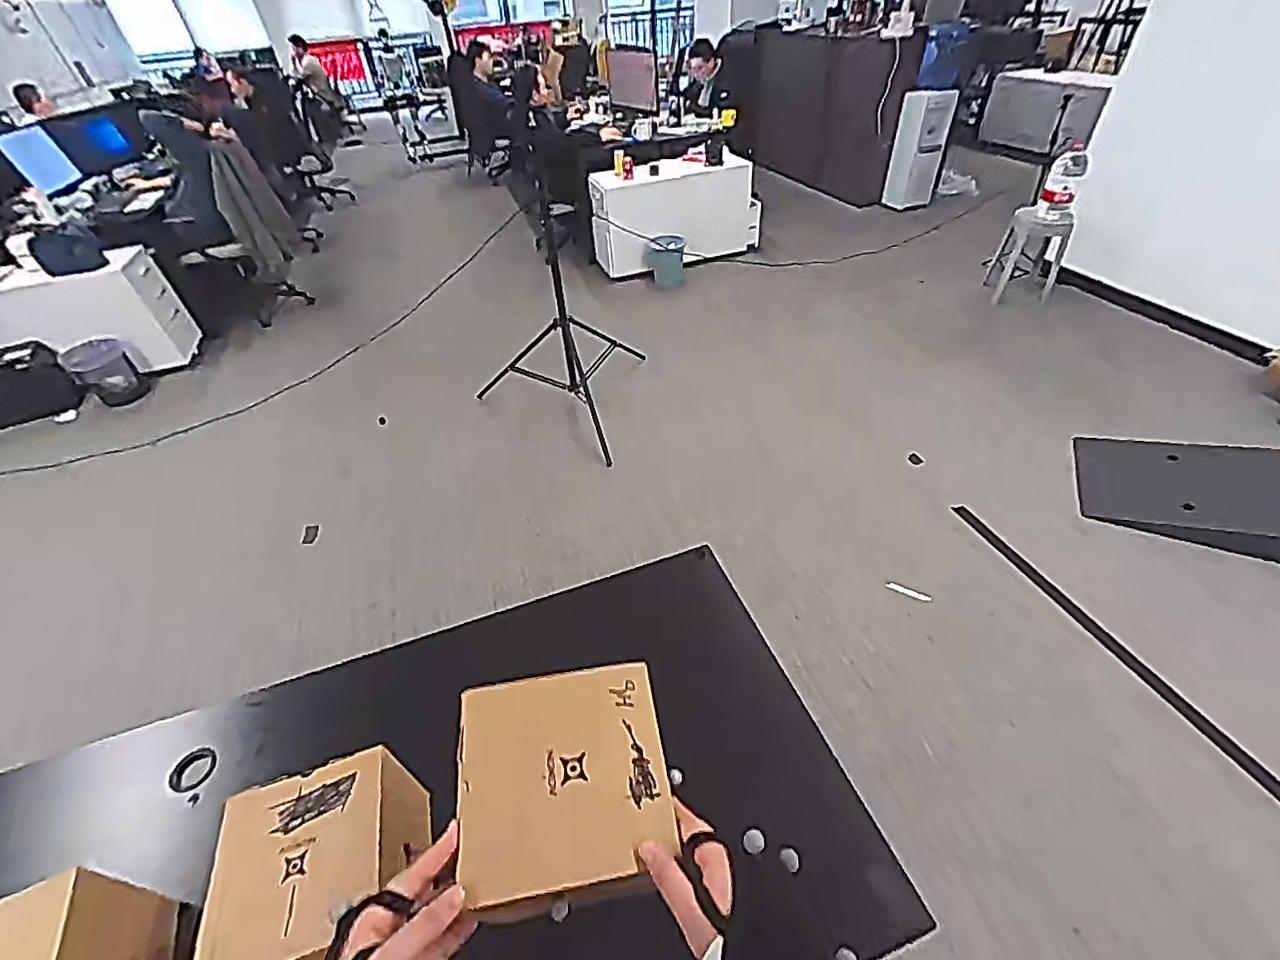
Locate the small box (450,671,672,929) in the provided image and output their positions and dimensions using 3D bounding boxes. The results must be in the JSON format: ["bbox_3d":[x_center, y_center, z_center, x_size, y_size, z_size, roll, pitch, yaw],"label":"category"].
[{"bbox_3d":[-0.070,0.312,0.526,0.179,0.176,0.168,-8,47,-7],"label":"small box"}]

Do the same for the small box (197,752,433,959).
[{"bbox_3d":[-0.342,0.447,0.606,0.168,0.176,0.179,-16,44,-11],"label":"small box"}]

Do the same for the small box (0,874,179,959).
[{"bbox_3d":[-0.607,0.538,0.532,0.179,0.176,0.168,-22,44,-17],"label":"small box"}]
